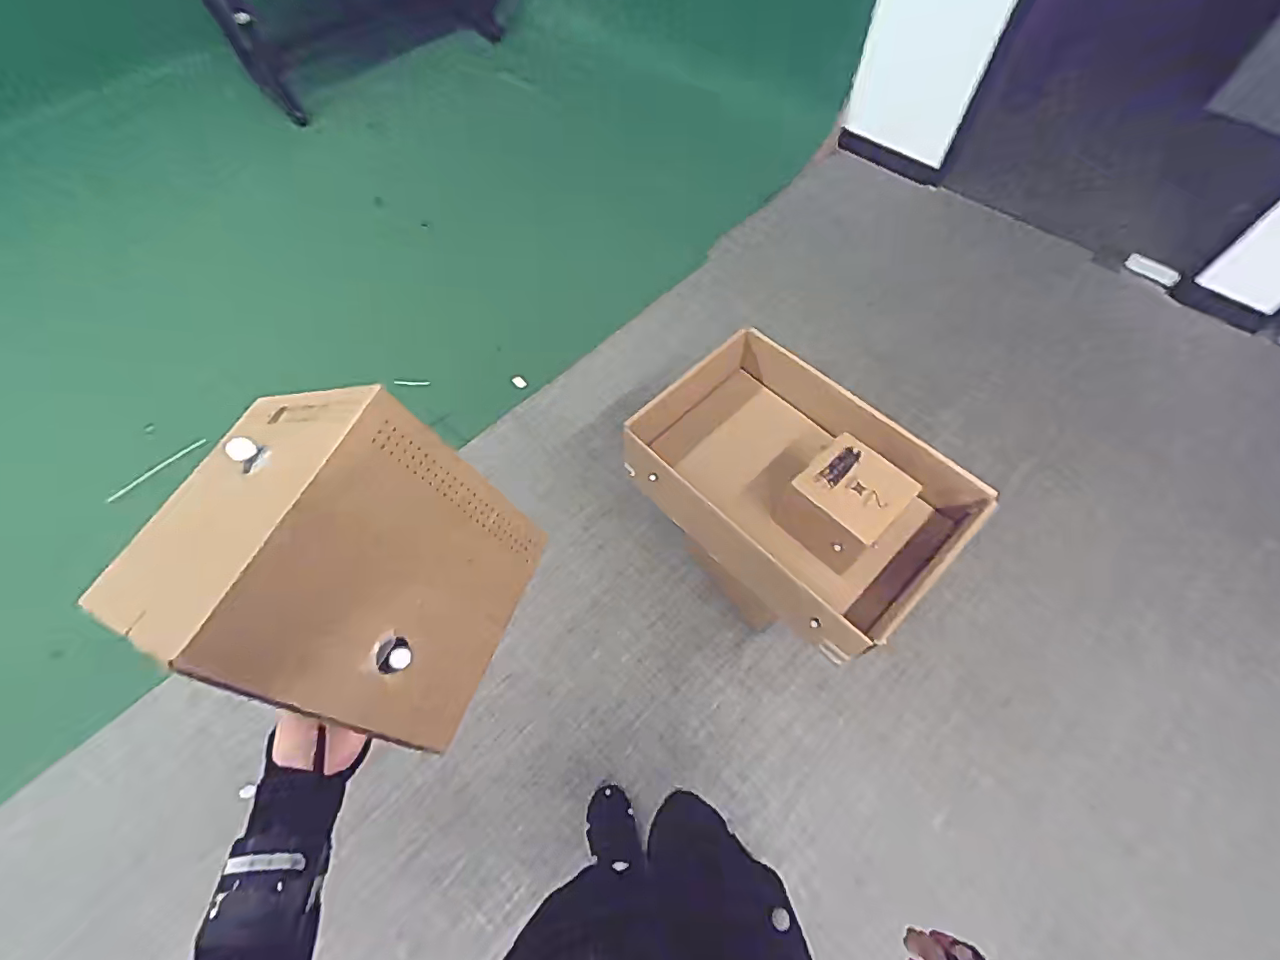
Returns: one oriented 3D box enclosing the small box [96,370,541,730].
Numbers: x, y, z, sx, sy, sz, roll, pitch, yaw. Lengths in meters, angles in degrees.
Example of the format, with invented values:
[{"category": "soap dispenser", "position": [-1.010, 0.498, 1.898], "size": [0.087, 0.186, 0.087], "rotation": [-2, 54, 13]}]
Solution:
[{"category": "small box", "position": [-0.201, 0.046, 0.381], "size": [0.168, 0.179, 0.176], "rotation": [2, 55, 34]}]
